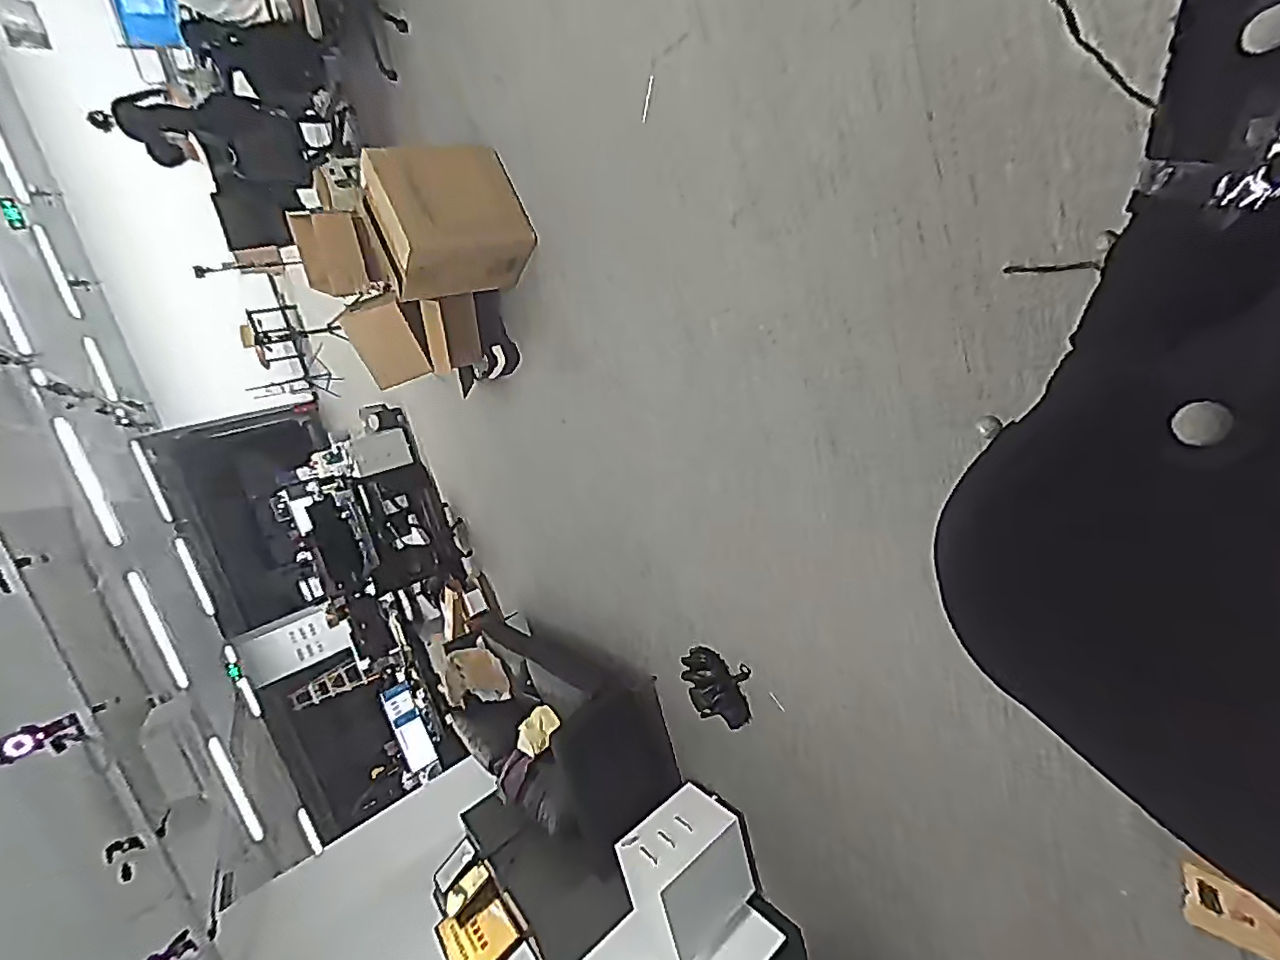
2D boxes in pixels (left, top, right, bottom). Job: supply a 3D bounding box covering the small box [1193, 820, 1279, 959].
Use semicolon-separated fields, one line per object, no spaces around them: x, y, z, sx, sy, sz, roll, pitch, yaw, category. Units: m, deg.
1.330;0.873;1.154;0.179;0.176;0.168;-1;108;56;small box
